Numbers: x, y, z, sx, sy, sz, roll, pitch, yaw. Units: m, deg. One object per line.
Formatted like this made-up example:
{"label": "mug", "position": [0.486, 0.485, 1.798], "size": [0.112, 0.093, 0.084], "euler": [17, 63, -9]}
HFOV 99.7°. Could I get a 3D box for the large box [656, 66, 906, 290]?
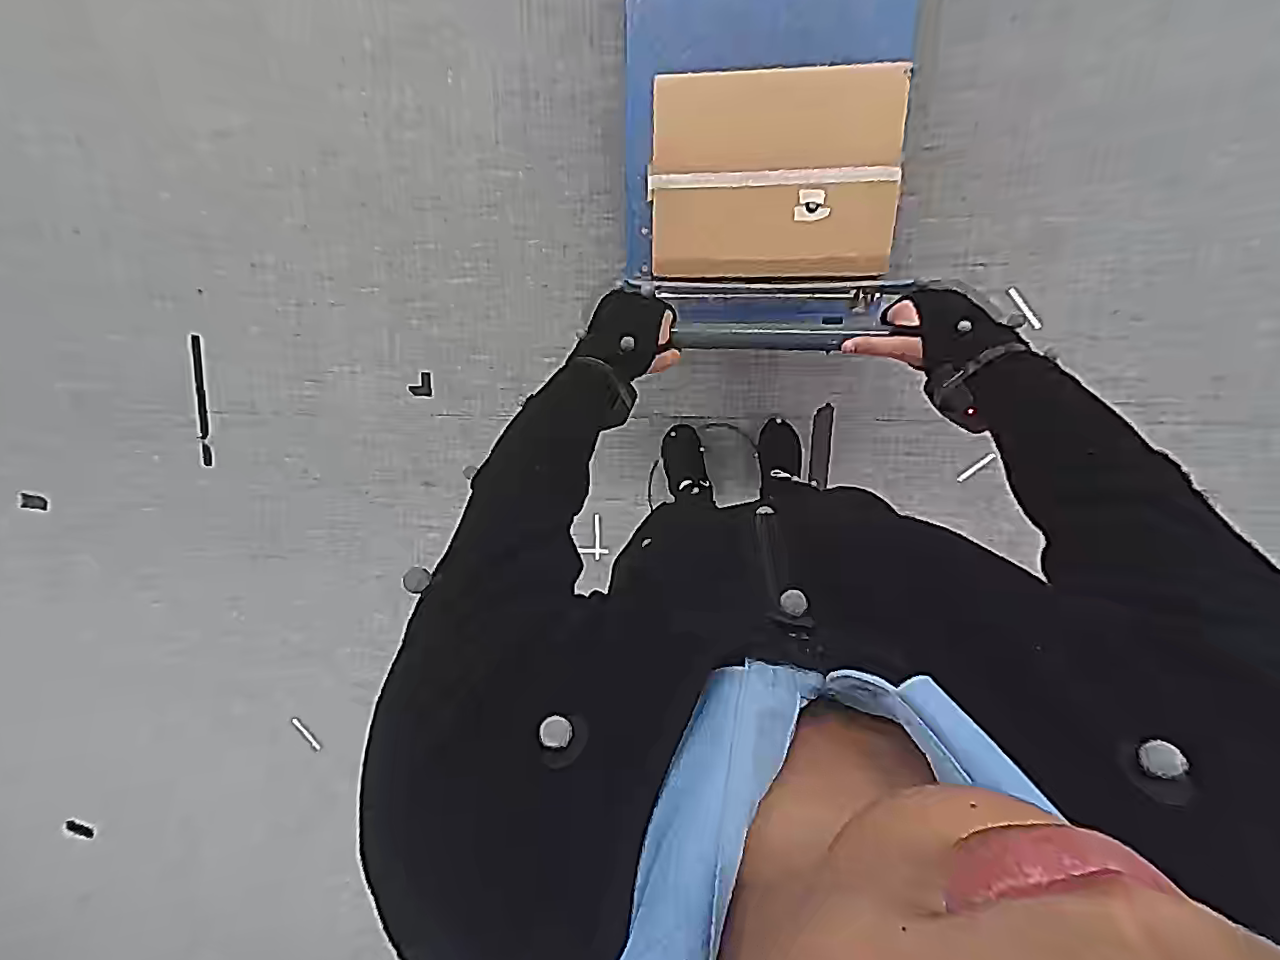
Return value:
{"label": "large box", "position": [0.243, -0.550, 1.059], "size": [0.408, 0.320, 0.320], "euler": [1, 107, 7]}
